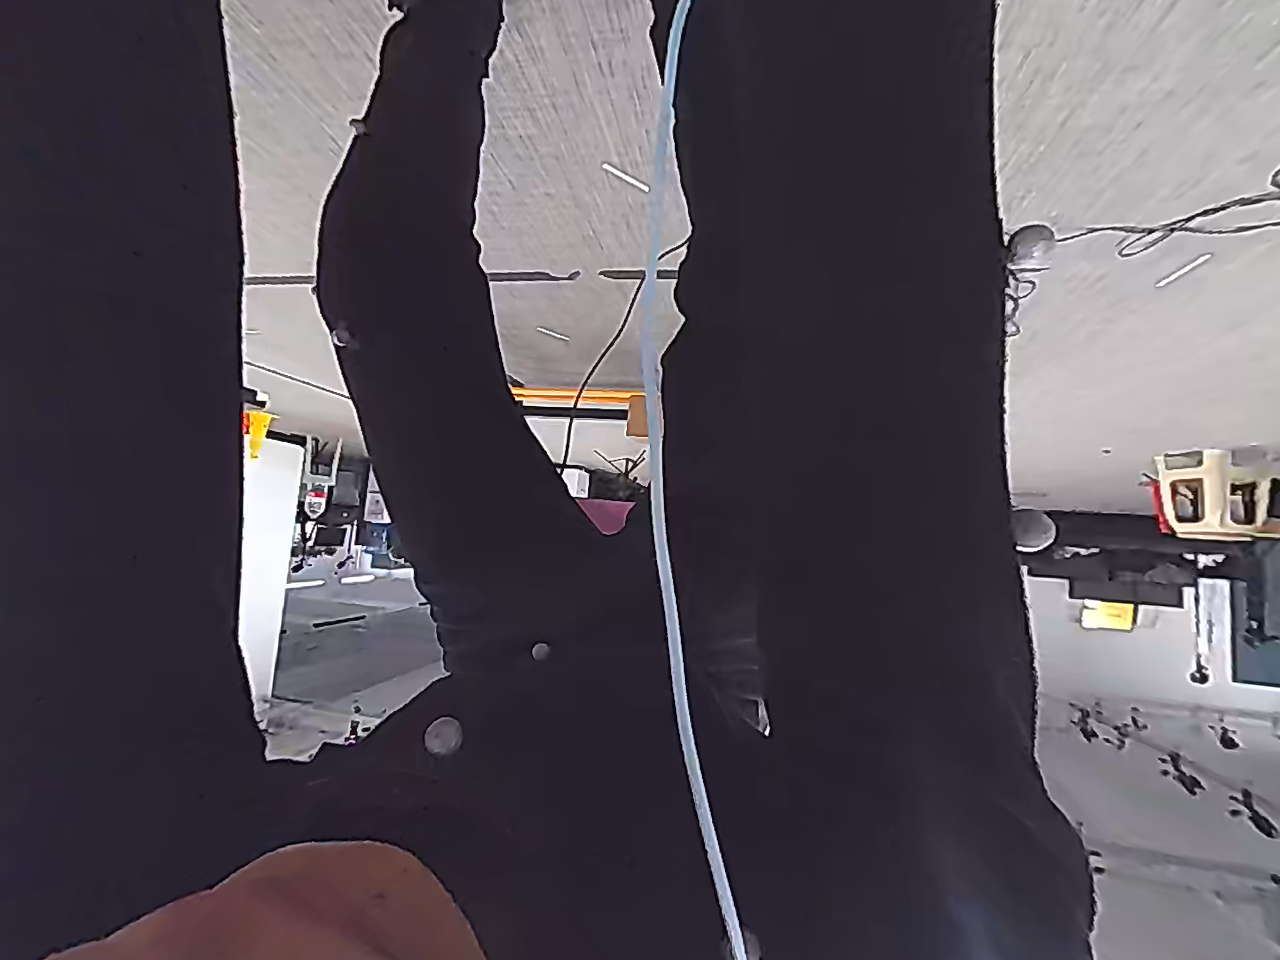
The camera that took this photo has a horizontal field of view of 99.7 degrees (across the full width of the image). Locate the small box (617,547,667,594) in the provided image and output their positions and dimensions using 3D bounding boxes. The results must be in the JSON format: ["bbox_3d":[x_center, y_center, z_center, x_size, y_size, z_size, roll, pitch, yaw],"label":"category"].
[{"bbox_3d":[0.009,0.355,2.150,0.168,0.176,0.179,4,175,13],"label":"small box"}]

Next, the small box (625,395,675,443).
[{"bbox_3d":[0.046,-0.253,2.243,0.179,0.176,0.168,5,175,14],"label":"small box"}]
